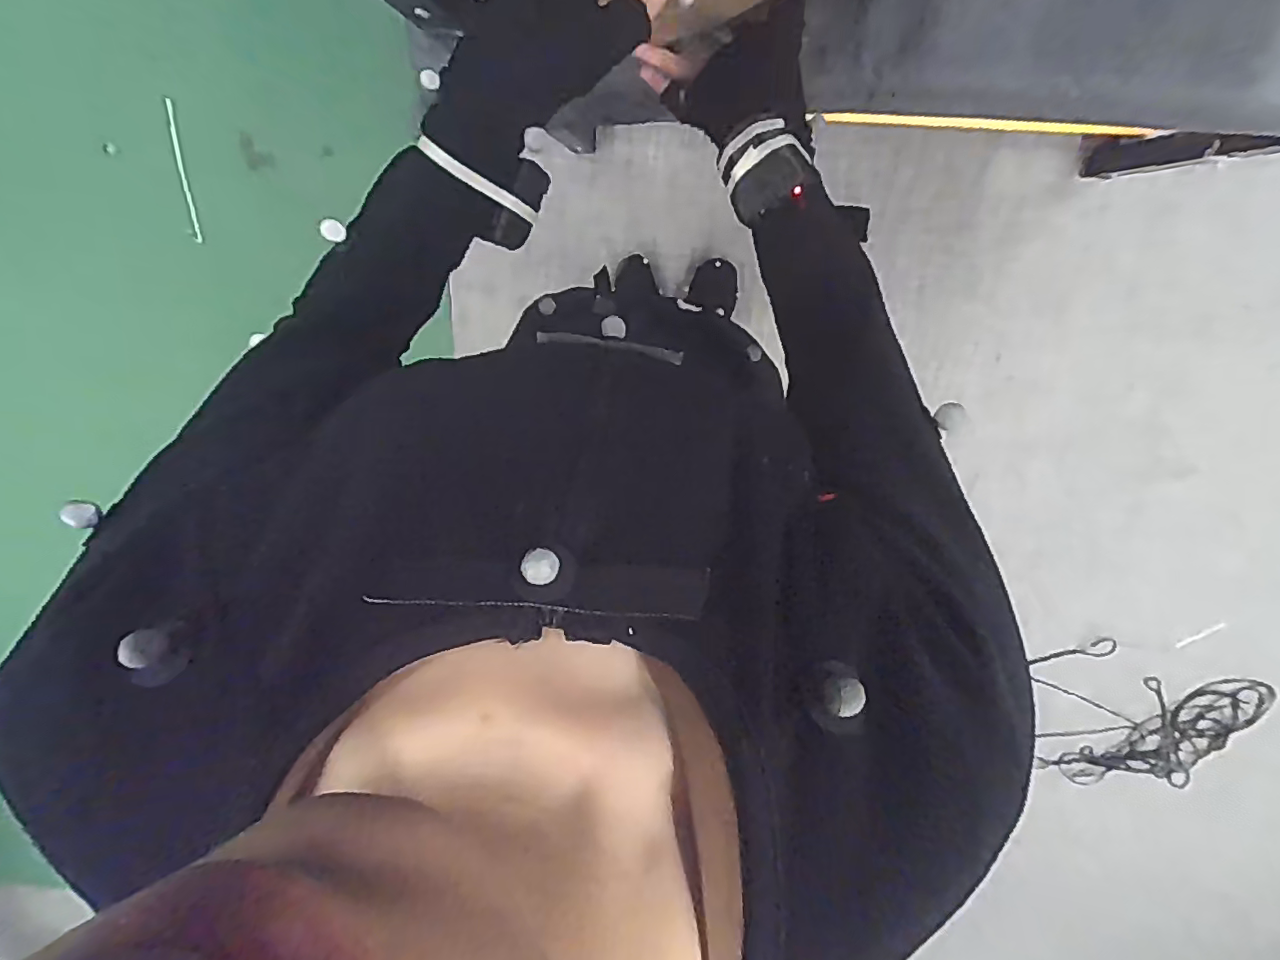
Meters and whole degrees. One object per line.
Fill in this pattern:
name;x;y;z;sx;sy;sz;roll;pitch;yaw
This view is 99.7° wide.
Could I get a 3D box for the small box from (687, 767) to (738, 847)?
small box;0.256;1.164;1.927;0.168;0.176;0.179;2;112;5
